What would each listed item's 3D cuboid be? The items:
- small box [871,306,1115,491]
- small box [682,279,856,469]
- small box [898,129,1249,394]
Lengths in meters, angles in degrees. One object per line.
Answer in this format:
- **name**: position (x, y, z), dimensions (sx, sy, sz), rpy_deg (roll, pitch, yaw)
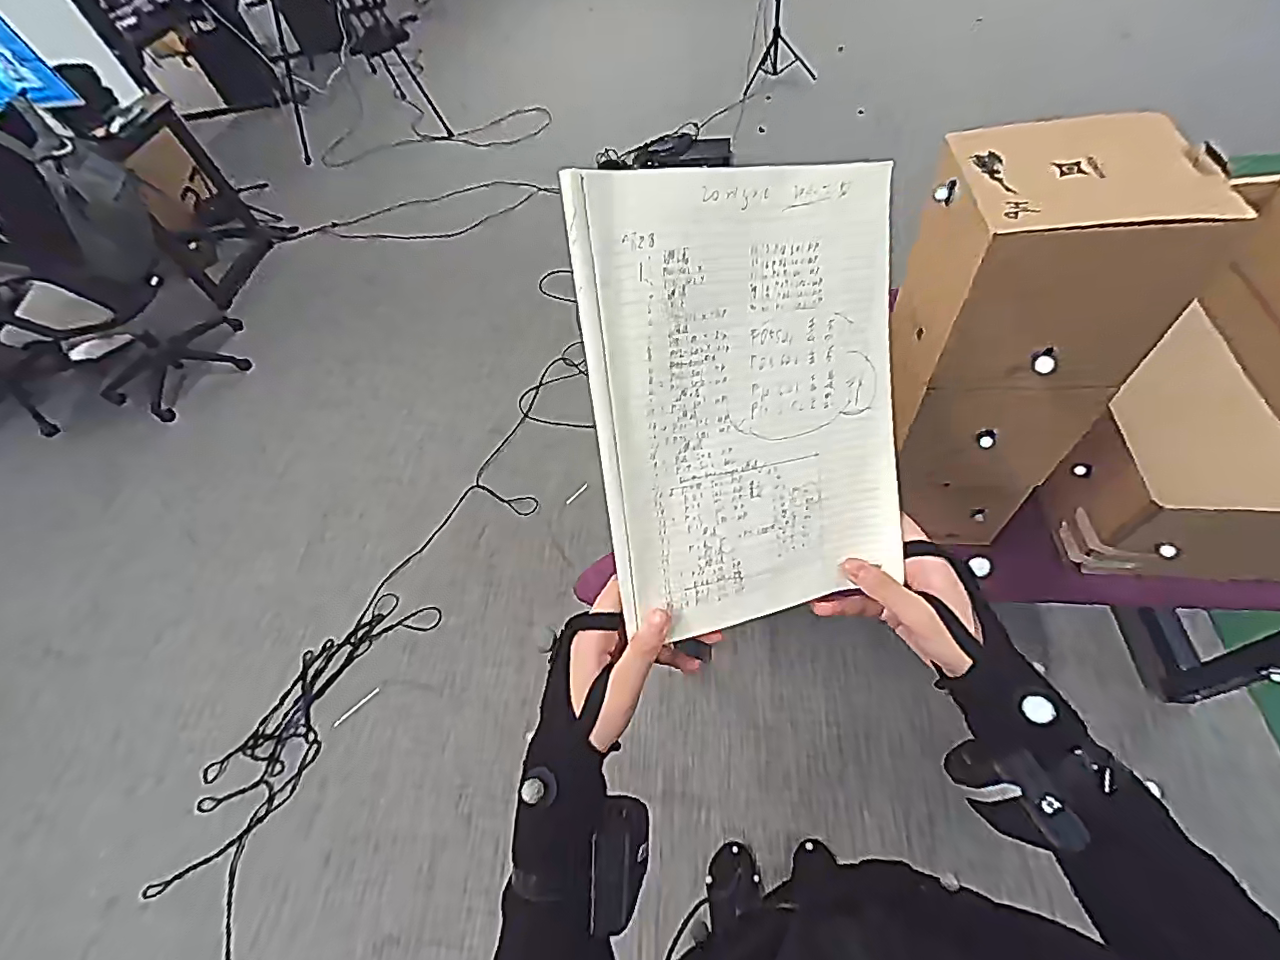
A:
- **small box**: position (0.388, -0.099, 0.636), dimensions (0.179, 0.176, 0.168), rpy_deg (1, 54, 11)
- **small box**: position (0.167, -0.134, 0.703), dimensions (0.179, 0.176, 0.168), rpy_deg (11, 58, 18)
- **small box**: position (0.365, -0.194, 0.504), dimensions (0.179, 0.176, 0.168), rpy_deg (1, 54, 10)
